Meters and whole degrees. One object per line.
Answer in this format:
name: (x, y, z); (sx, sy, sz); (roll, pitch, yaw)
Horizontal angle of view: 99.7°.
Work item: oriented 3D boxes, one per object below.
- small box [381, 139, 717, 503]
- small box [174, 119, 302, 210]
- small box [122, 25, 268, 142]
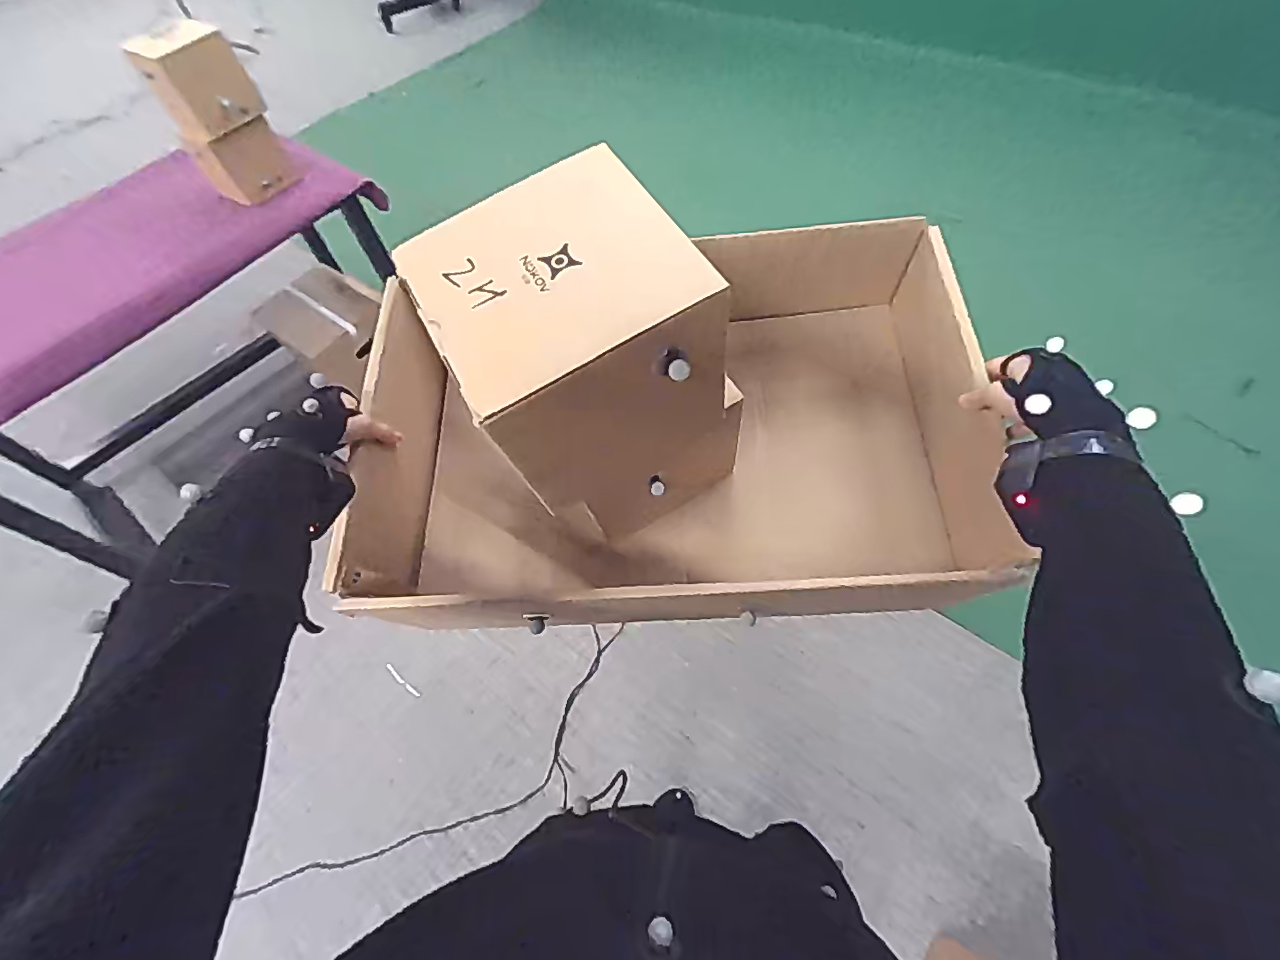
small box: (-0.057, -0.110, 0.424); (0.179, 0.176, 0.168); (-31, 66, -5)
small box: (-1.044, -0.839, 1.415); (0.179, 0.176, 0.168); (29, 66, 23)
small box: (-1.041, -0.934, 1.278); (0.179, 0.176, 0.168); (29, 67, 23)
